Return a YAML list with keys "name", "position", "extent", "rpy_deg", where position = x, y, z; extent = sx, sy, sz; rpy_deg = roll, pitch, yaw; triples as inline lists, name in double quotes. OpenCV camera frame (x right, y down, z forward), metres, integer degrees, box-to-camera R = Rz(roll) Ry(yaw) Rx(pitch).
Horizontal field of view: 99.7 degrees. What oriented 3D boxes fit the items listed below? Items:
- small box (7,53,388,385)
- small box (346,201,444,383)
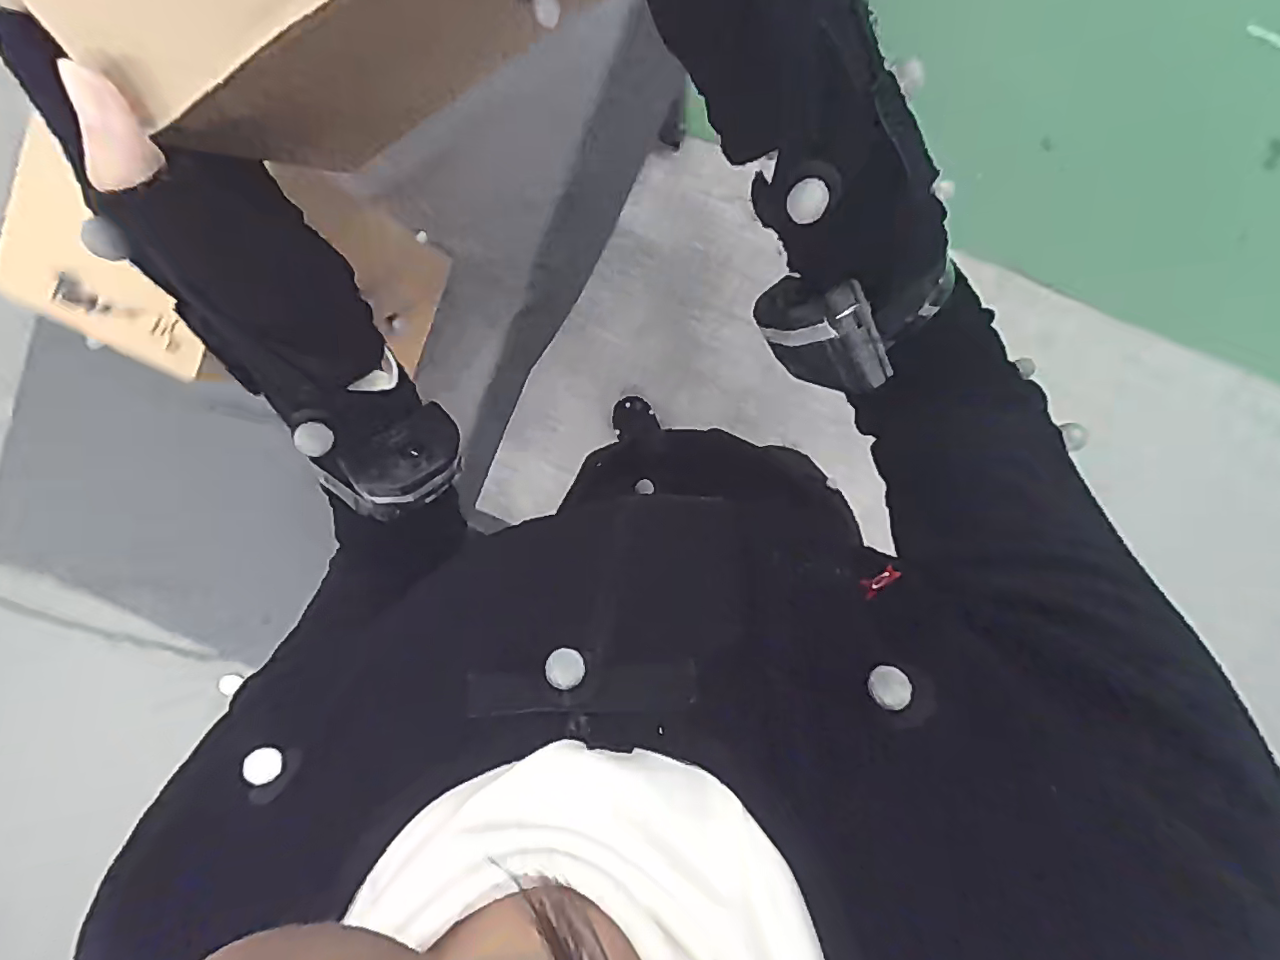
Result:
- name: "small box"
  position: [-0.345, -0.192, 0.458]
  extent: [0.168, 0.176, 0.179]
  rpy_deg: [22, 99, 0]
- name: "small box"
  position: [-0.350, -0.223, 0.616]
  extent: [0.168, 0.176, 0.179]
  rpy_deg: [23, 99, 2]
